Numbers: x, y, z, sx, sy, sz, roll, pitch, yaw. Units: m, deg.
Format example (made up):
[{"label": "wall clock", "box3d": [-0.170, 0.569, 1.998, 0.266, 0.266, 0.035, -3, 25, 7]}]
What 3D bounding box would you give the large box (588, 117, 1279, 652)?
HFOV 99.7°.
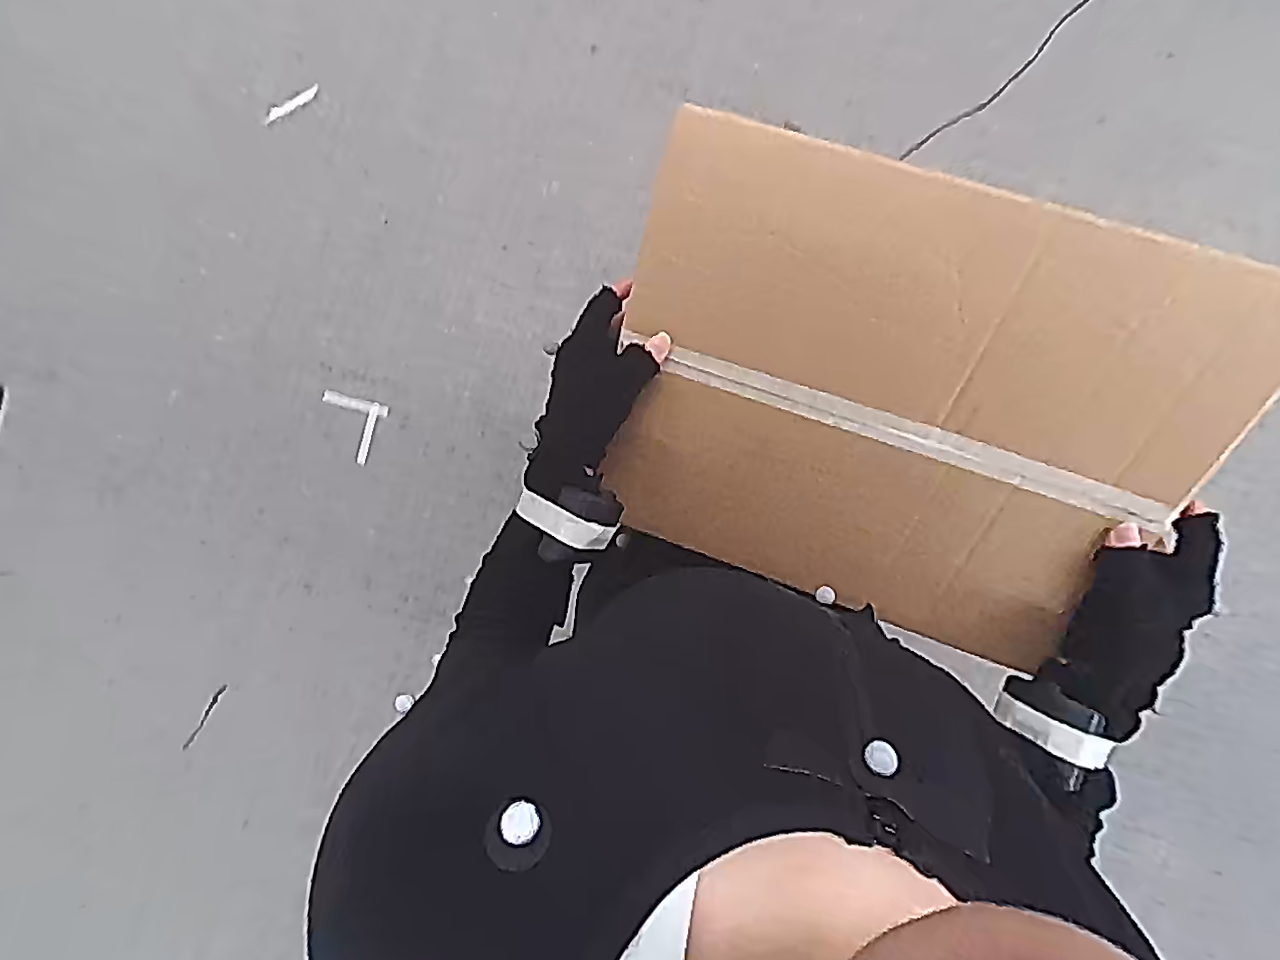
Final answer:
[{"label": "large box", "box3d": [0.207, -0.108, 0.536, 0.408, 0.320, 0.320, 20, 119, 6]}]
